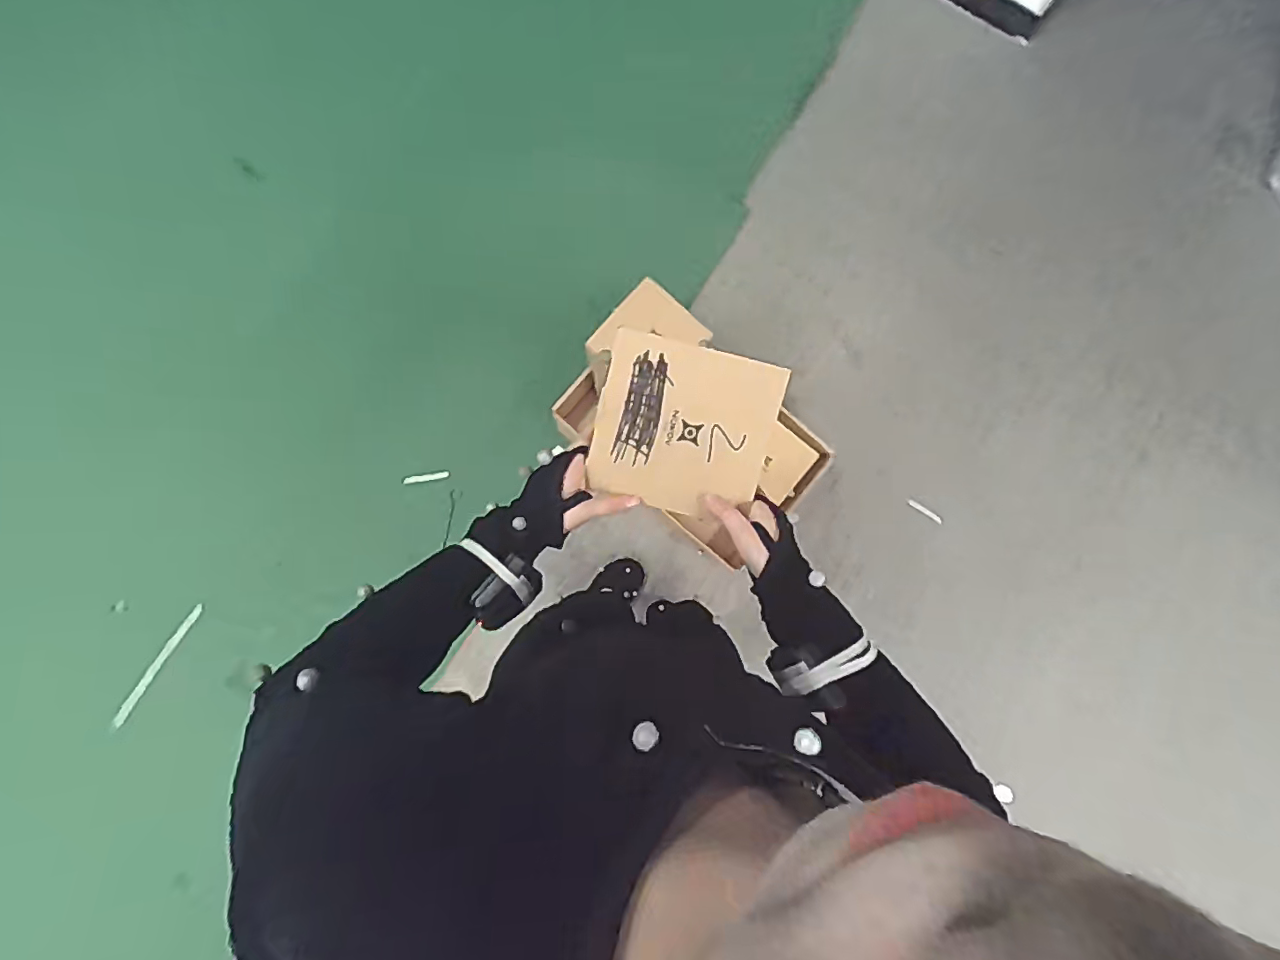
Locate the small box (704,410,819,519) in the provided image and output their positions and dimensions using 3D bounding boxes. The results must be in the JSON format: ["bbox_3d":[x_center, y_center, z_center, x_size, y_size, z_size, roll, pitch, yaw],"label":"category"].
[{"bbox_3d":[0.263,-0.029,1.222,0.168,0.176,0.179,40,87,2],"label":"small box"}]

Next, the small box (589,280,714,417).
[{"bbox_3d":[0.016,-0.250,1.069,0.168,0.176,0.179,43,86,1],"label":"small box"}]

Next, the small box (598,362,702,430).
[{"bbox_3d":[0.014,-0.238,1.233,0.168,0.176,0.179,45,86,1],"label":"small box"}]
